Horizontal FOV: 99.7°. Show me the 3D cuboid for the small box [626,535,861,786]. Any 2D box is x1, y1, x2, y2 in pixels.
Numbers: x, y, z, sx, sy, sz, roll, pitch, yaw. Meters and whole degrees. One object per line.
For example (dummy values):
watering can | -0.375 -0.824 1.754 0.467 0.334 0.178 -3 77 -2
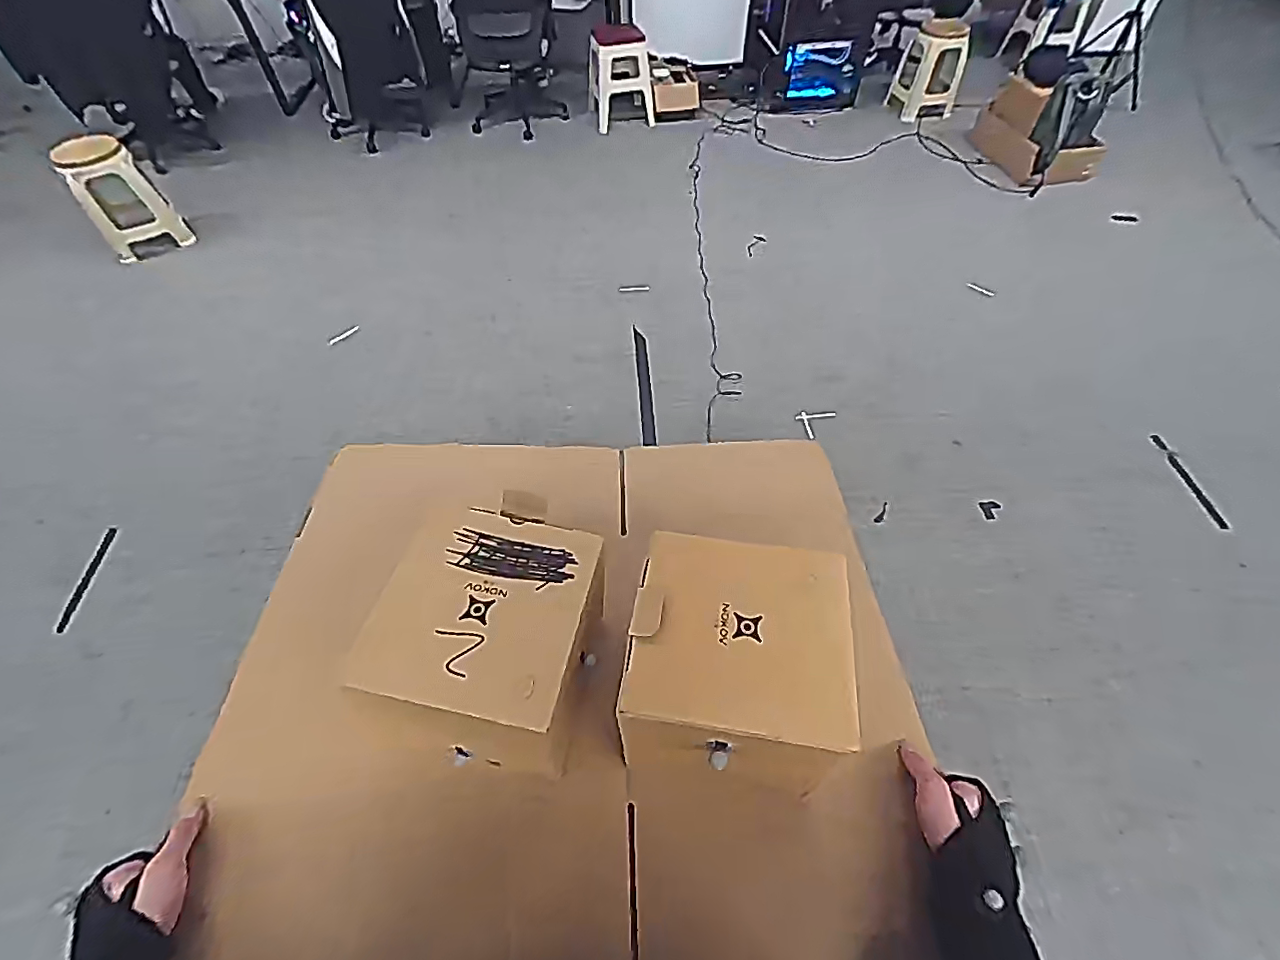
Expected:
small box | 0.091 0.174 0.511 0.179 0.176 0.168 5 51 8
